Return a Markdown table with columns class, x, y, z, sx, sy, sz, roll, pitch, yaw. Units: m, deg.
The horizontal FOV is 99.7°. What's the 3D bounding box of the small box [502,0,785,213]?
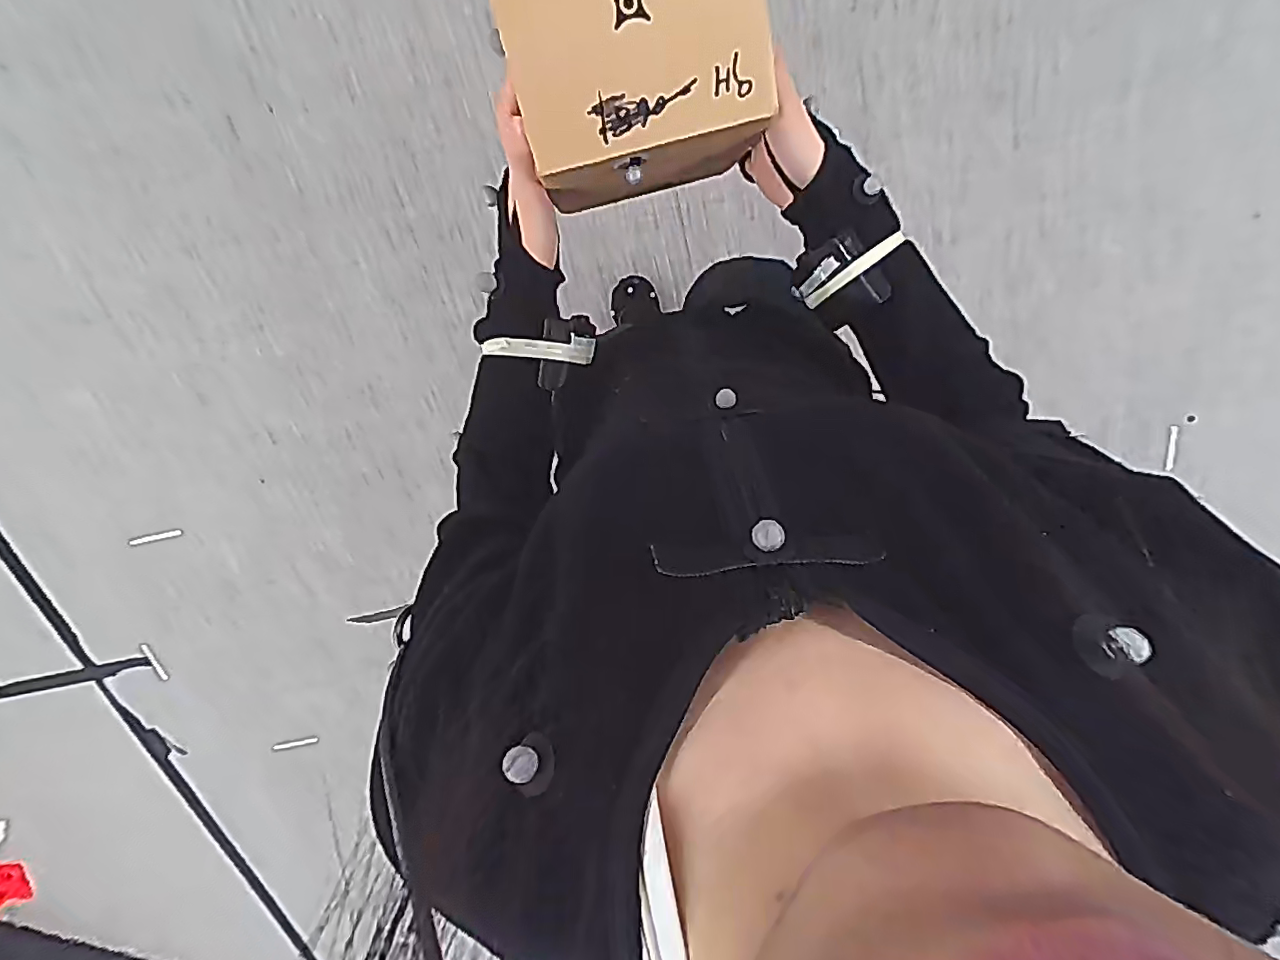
| class | x | y | z | sx | sy | sz | roll | pitch | yaw |
| --- | --- | --- | --- | --- | --- | --- | --- | --- | --- |
| small box | -0.008 | -0.322 | 0.403 | 0.168 | 0.176 | 0.179 | -14 | 108 | 1 |
